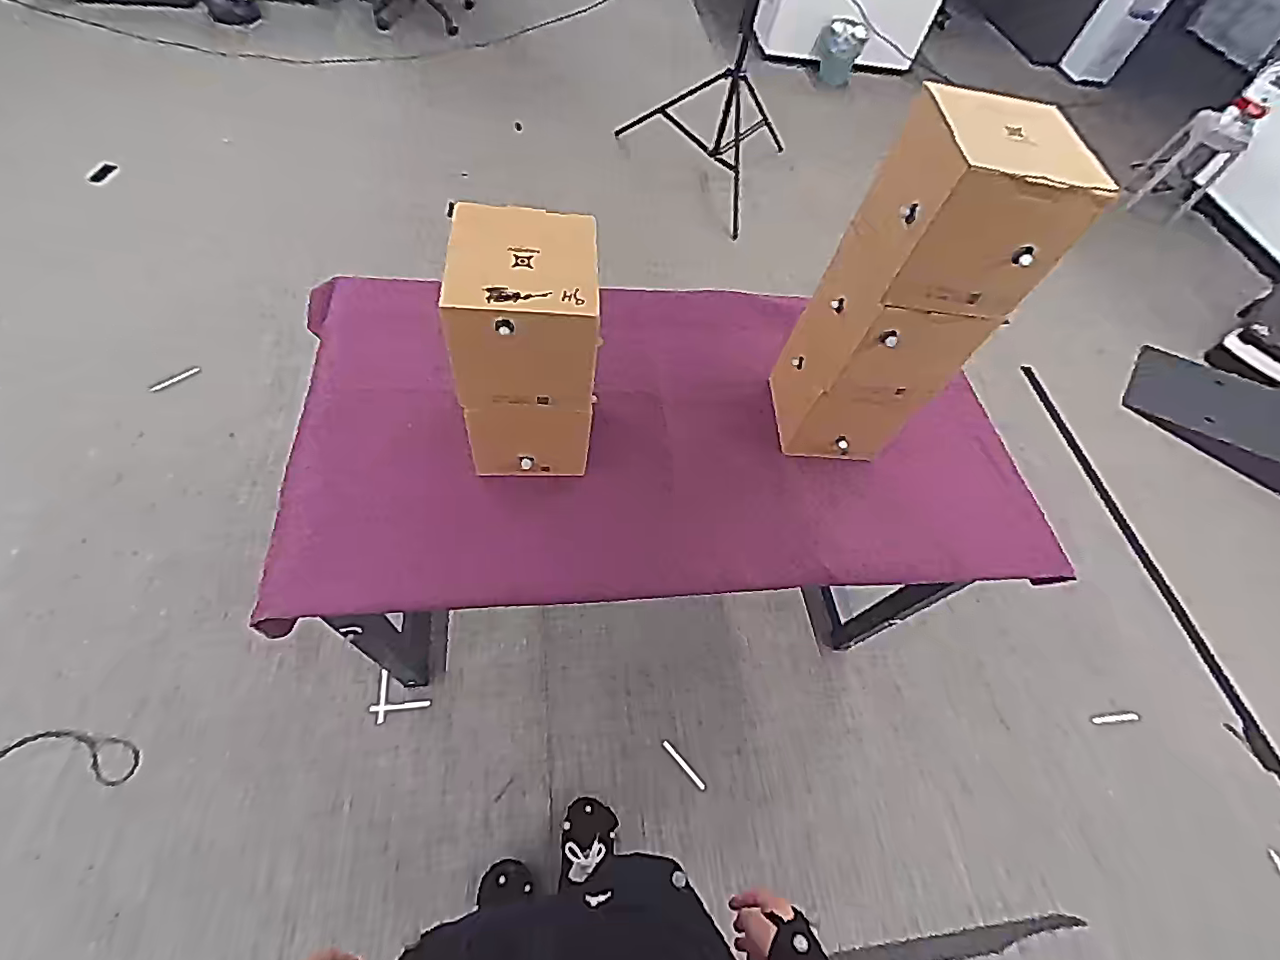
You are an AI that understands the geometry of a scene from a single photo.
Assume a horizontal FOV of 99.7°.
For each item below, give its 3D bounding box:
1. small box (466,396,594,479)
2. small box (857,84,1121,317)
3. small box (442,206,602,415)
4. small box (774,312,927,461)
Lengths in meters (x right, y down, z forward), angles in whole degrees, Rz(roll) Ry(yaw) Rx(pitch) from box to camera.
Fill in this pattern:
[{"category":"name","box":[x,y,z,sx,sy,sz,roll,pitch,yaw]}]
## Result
[{"category":"small box","box":[-0.159,-0.119,0.806,0.168,0.176,0.179,0,60,-9]},{"category":"small box","box":[0.379,-0.314,0.628,0.168,0.176,0.179,5,57,-7]},{"category":"small box","box":[-0.137,-0.202,0.667,0.168,0.176,0.179,1,59,-9]},{"category":"small box","box":[0.337,-0.153,0.909,0.168,0.176,0.179,3,59,-7]}]
